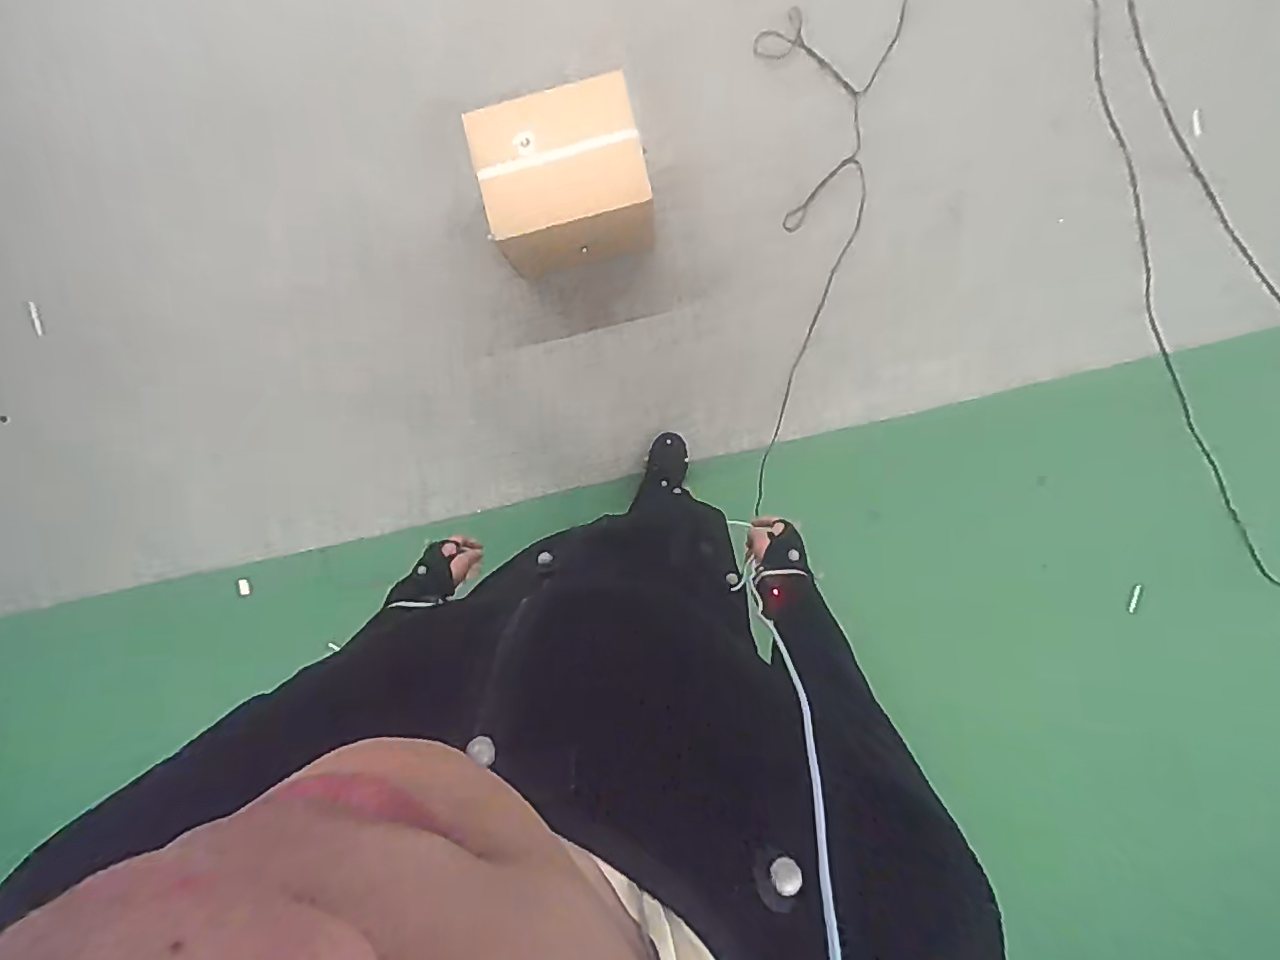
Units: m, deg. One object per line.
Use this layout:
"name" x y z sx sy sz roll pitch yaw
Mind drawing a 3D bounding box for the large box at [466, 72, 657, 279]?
"large box" -0.186 -0.784 1.453 0.408 0.320 0.320 -14 92 4
